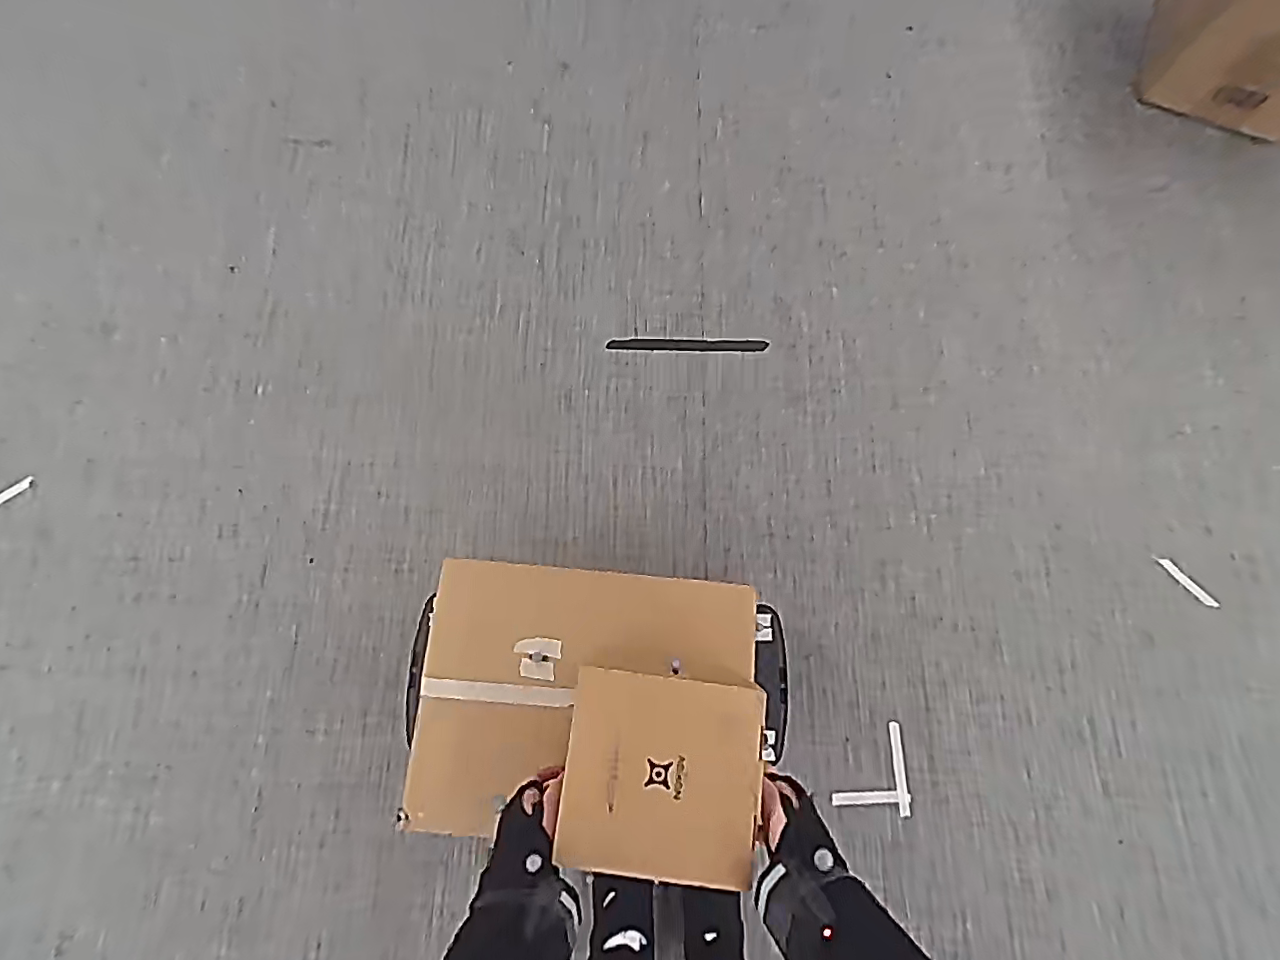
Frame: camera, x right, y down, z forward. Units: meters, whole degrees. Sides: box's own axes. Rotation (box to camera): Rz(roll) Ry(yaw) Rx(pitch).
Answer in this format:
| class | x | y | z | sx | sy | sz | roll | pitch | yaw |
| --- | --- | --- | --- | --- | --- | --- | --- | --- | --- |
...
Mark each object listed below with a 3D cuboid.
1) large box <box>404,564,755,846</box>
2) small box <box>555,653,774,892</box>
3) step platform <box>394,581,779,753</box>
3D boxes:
| class | x | y | z | sx | sy | sz | roll | pitch | yaw |
| --- | --- | --- | --- | --- | --- | --- | --- | --- | --- |
| large box | -0.062 | 0.303 | 0.793 | 0.408 | 0.320 | 0.320 | 5 | 75 | 0 |
| small box | 0.023 | 0.274 | 0.549 | 0.179 | 0.176 | 0.168 | 8 | 76 | 1 |
| step platform | -0.090 | 0.372 | 1.020 | 0.684 | 0.204 | 0.286 | 7 | 76 | 1 |
